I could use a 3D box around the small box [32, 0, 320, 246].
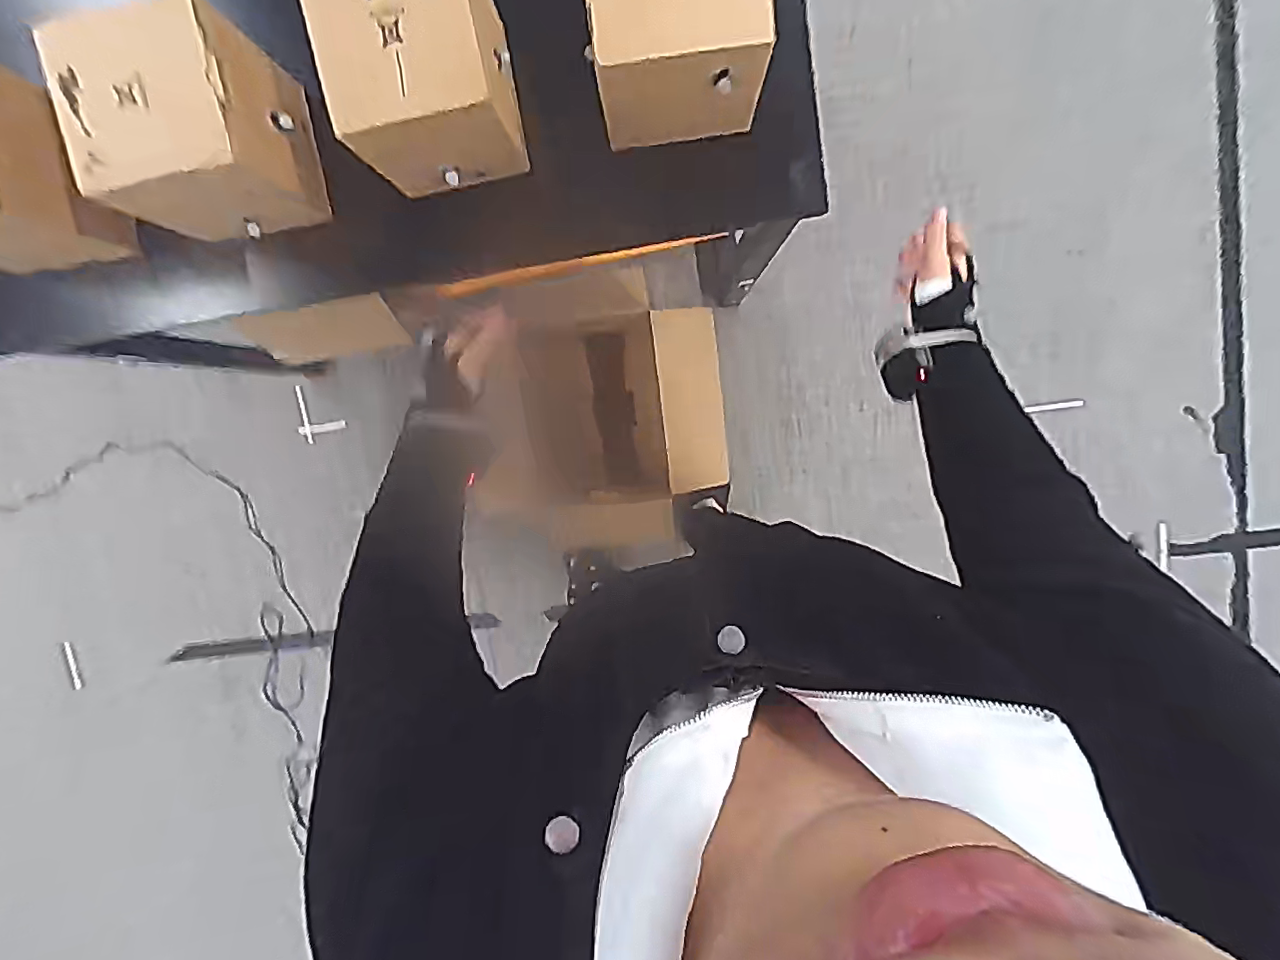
[{"bbox_3d":[-0.503,-0.390,0.622,0.179,0.176,0.168,-11,96,2],"label":"small box"}]

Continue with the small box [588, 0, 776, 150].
[{"bbox_3d":[0.038,-0.492,0.587,0.179,0.176,0.168,-7,96,4],"label":"small box"}]

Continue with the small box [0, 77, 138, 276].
[{"bbox_3d":[-0.763,-0.351,0.636,0.179,0.176,0.168,-7,97,2],"label":"small box"}]

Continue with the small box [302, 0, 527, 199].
[{"bbox_3d":[-0.238,-0.449,0.604,0.168,0.176,0.179,-11,97,4],"label":"small box"}]
